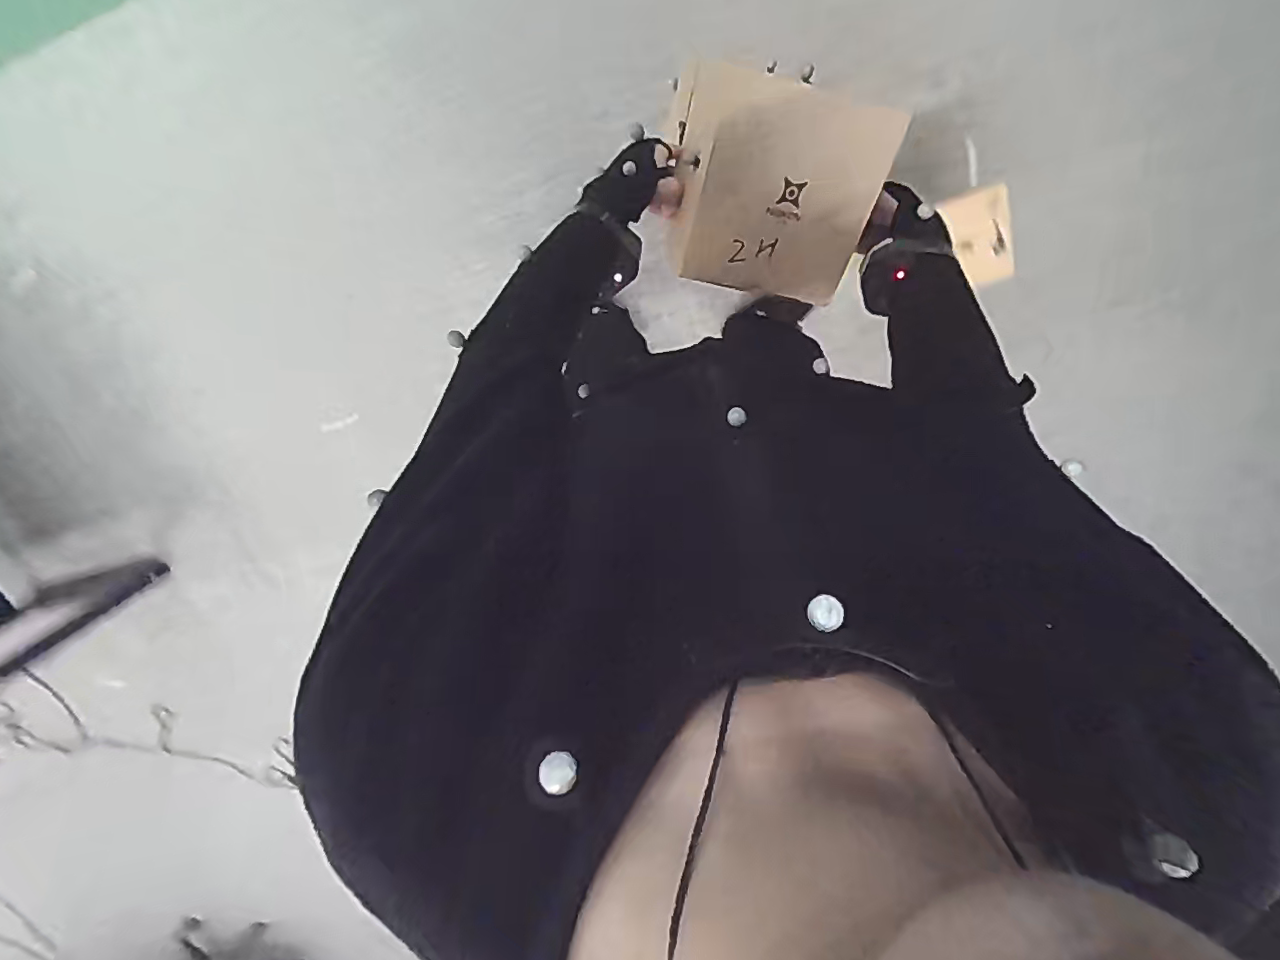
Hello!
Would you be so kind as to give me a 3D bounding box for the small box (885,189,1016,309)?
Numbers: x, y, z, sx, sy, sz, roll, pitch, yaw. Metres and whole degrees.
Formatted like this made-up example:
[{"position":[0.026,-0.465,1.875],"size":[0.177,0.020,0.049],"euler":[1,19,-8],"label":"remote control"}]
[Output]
[{"position":[0.600,-0.452,1.067],"size":[0.179,0.176,0.168],"euler":[-16,112,11],"label":"small box"}]
